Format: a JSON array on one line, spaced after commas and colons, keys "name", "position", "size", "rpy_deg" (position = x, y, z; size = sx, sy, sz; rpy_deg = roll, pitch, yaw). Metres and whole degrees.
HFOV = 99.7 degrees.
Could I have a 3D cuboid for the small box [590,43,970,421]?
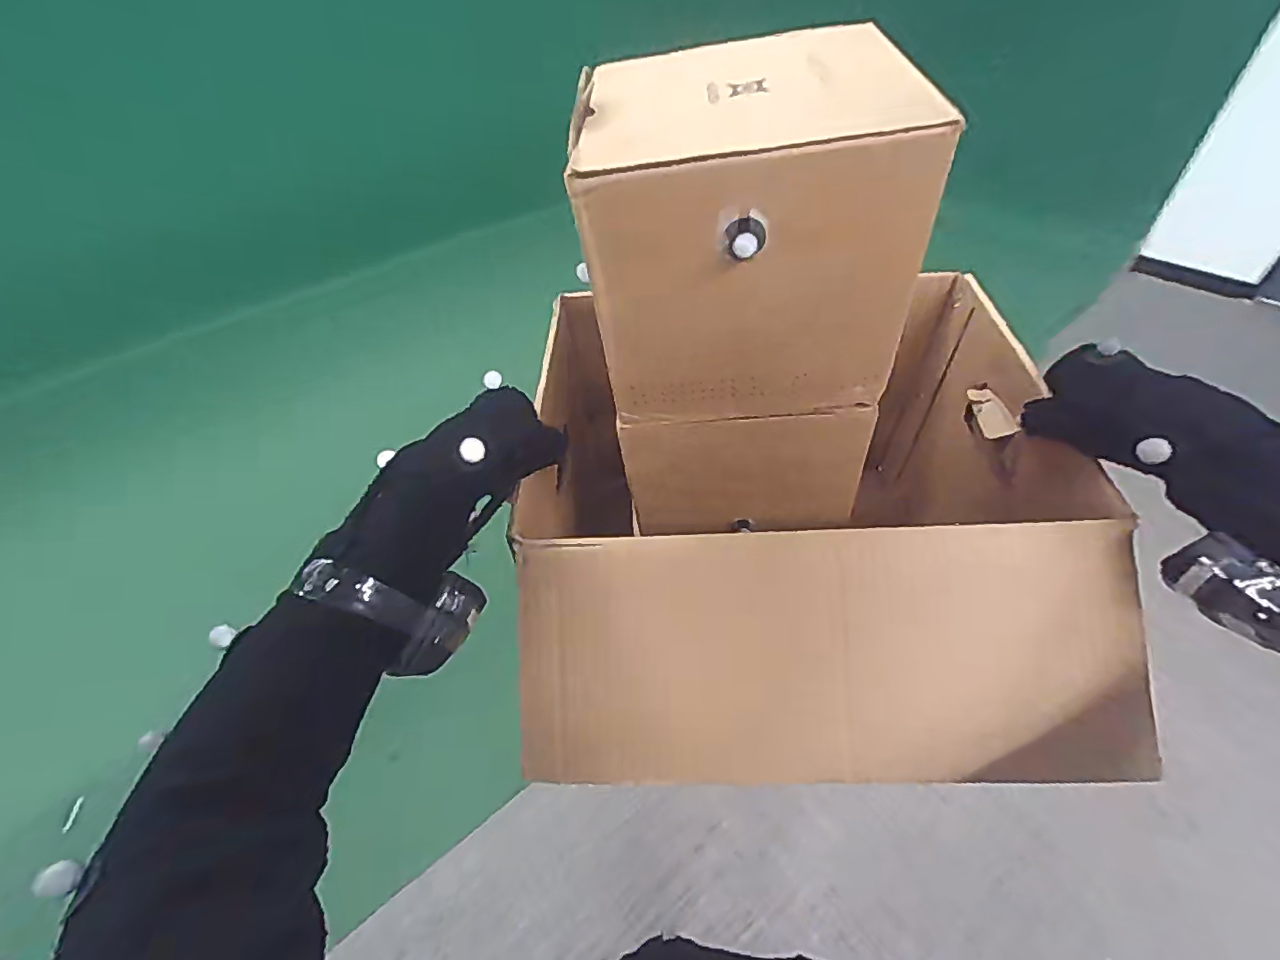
[{"name": "small box", "position": [0.074, -0.153, 0.358], "size": [0.179, 0.176, 0.168], "rpy_deg": [-3, 51, 6]}]
